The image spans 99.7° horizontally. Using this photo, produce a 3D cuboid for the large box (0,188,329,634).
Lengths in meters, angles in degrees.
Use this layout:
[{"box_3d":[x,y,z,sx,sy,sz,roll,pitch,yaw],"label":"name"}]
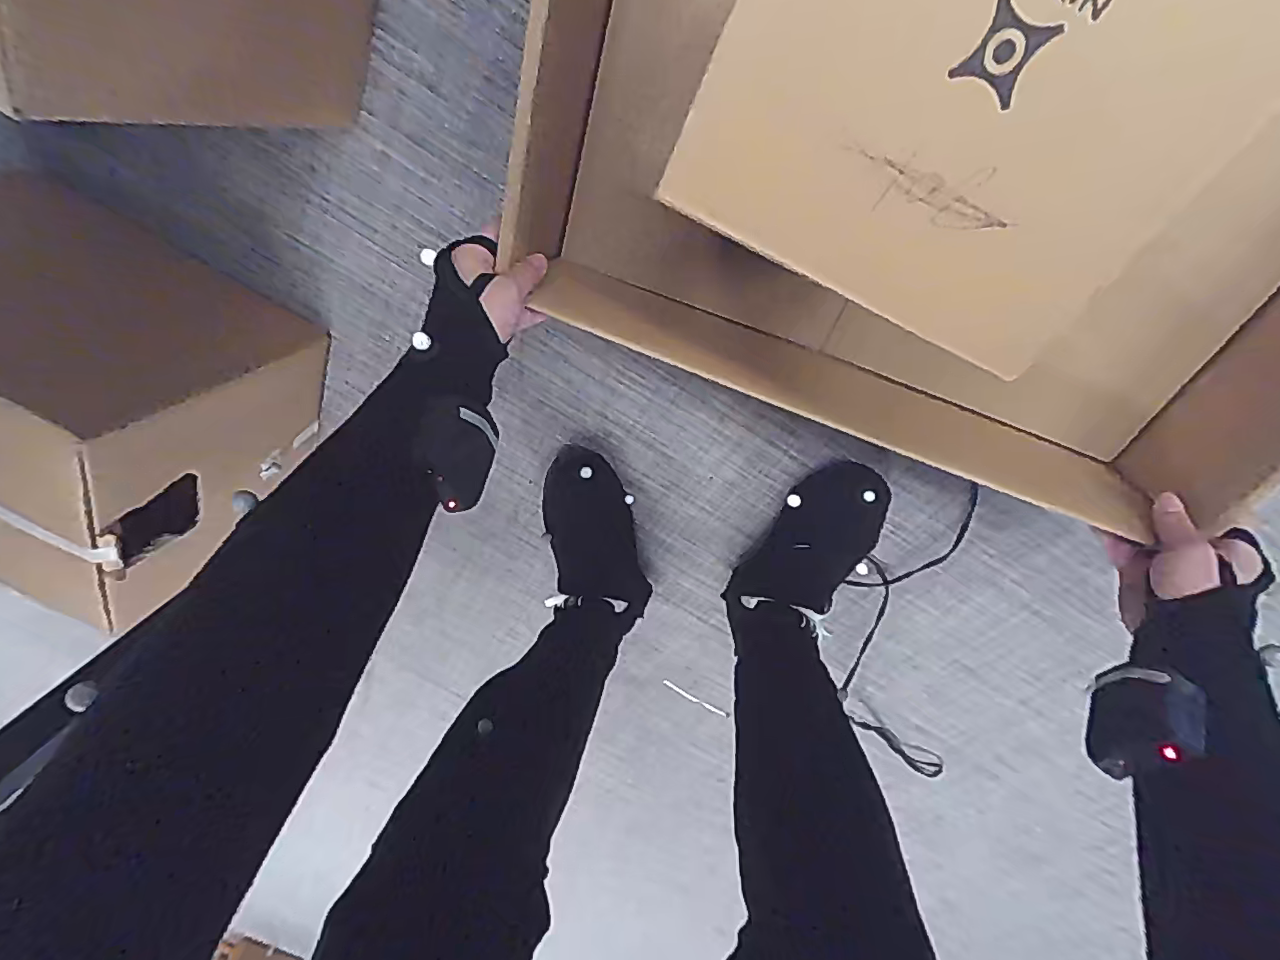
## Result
[{"box_3d":[-0.669,-0.096,0.653,0.408,0.320,0.320,29,122,-4],"label":"large box"}]
